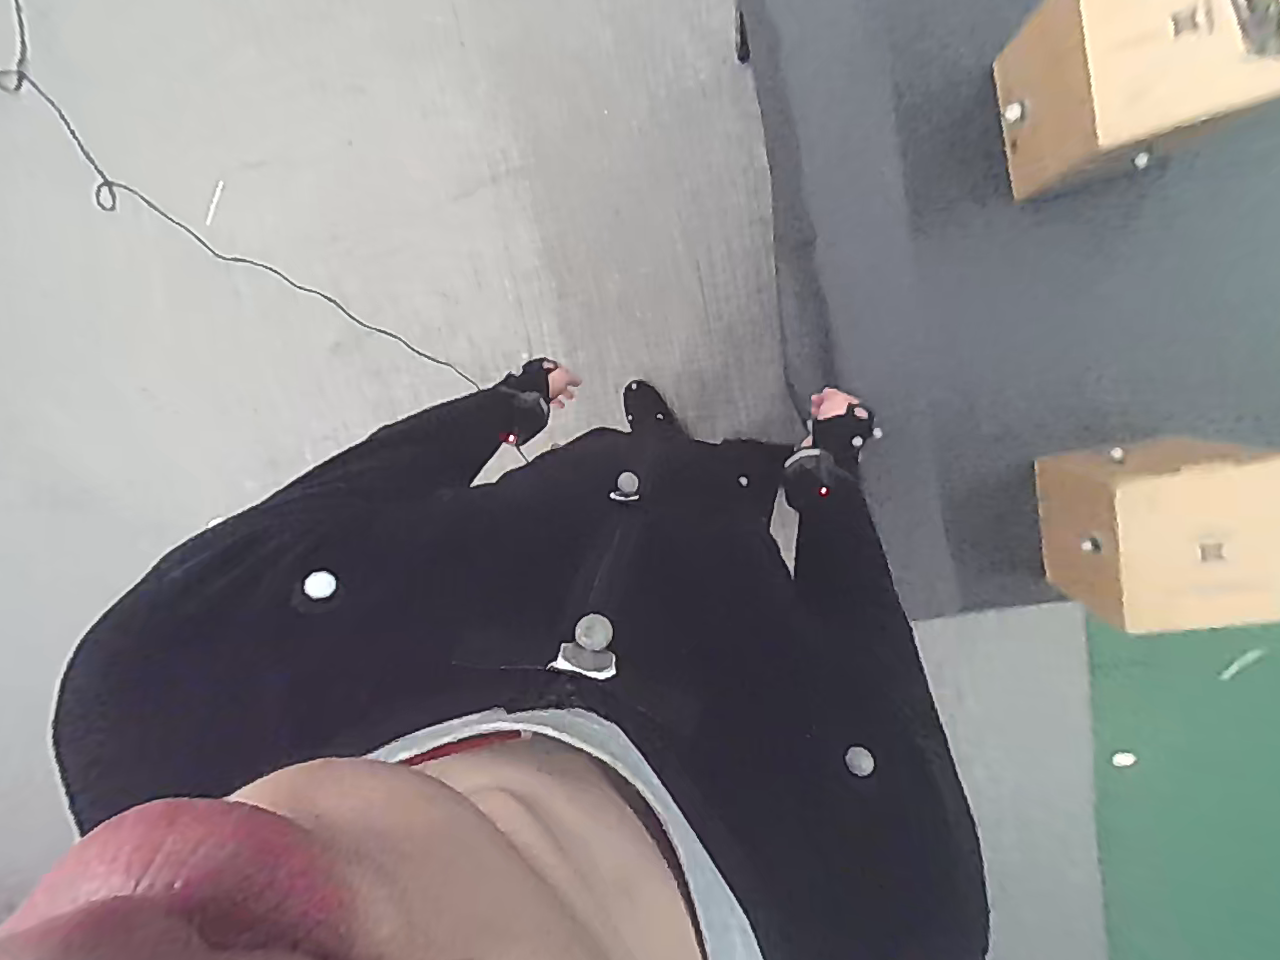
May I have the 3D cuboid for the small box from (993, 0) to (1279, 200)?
[{"bbox_3d":[0.506,-0.421,0.560,0.179,0.176,0.168,-12,98,13],"label":"small box"}]

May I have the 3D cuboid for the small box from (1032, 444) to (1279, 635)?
[{"bbox_3d":[0.596,0.058,0.638,0.168,0.176,0.179,-10,100,13],"label":"small box"}]
